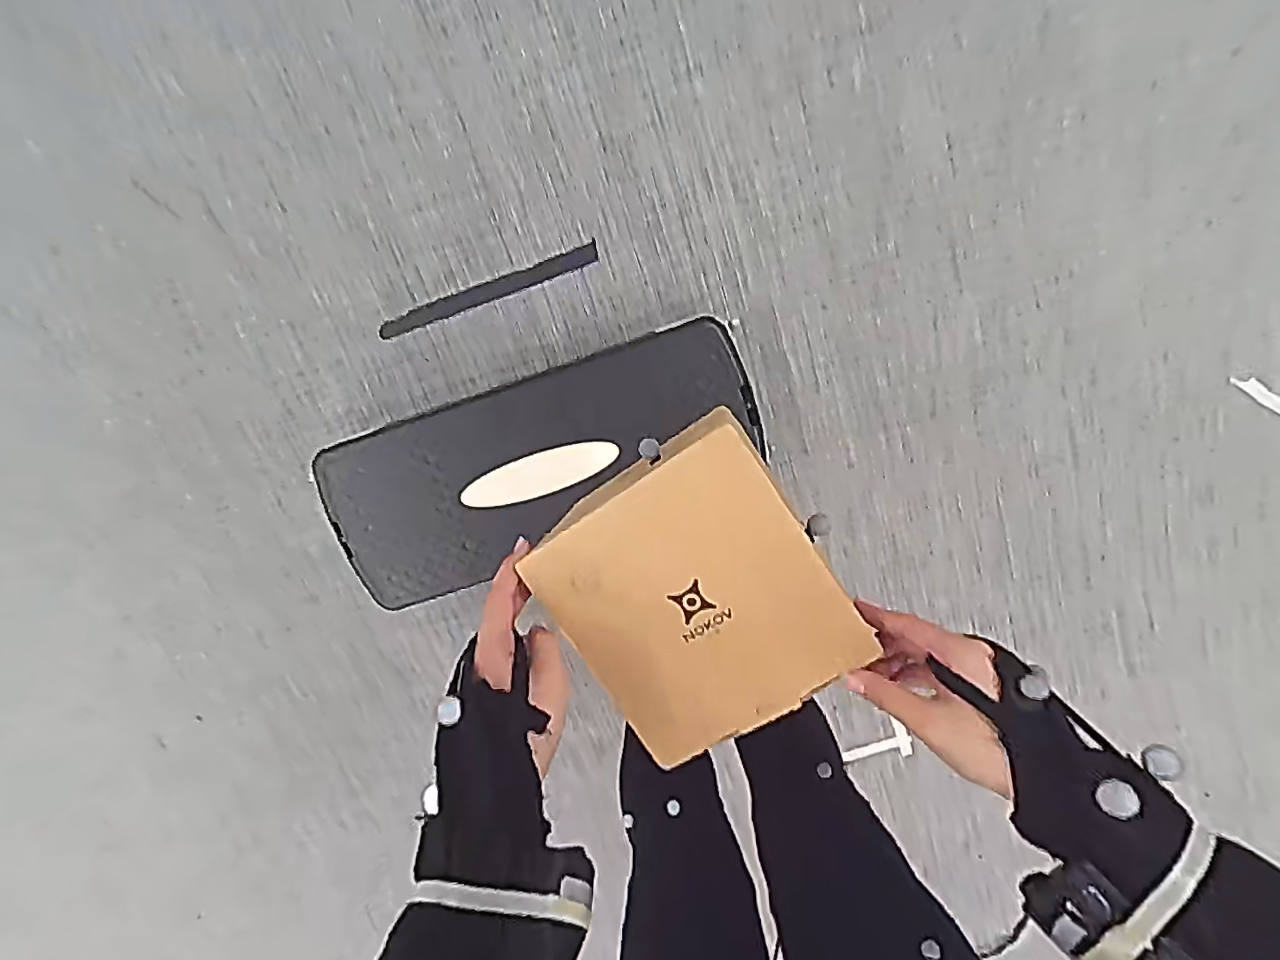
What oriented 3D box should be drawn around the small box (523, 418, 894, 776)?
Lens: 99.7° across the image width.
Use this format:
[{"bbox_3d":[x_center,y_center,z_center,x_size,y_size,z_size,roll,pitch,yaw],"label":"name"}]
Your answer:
[{"bbox_3d":[0.046,0.066,0.407,0.168,0.176,0.179,-34,96,11],"label":"small box"}]
